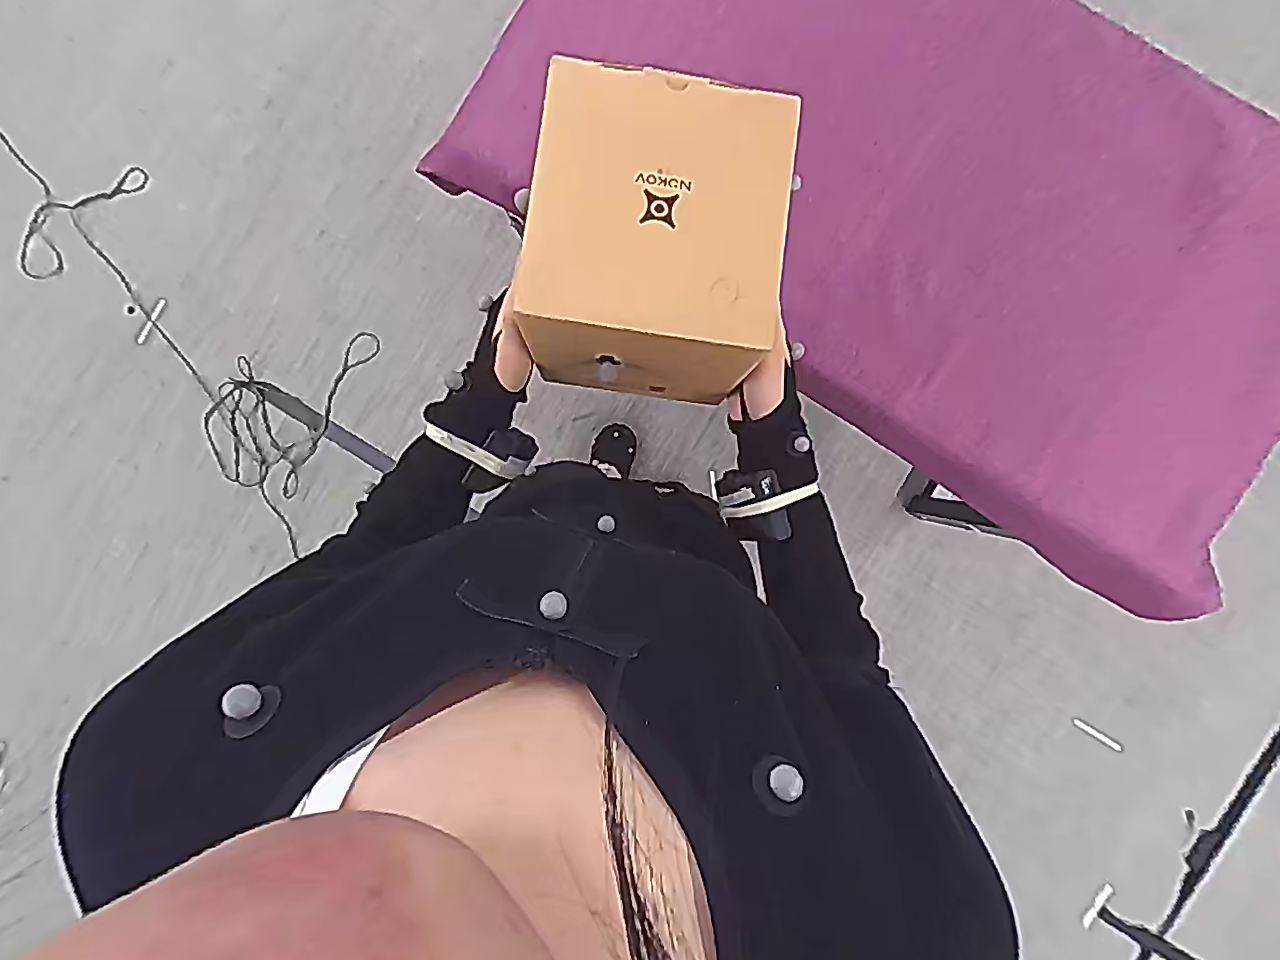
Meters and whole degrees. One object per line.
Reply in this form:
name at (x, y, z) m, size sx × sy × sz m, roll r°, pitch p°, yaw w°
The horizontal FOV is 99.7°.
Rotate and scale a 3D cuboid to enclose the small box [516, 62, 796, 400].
small box at (0.009, -0.172, 0.430) m, size 0.168 × 0.176 × 0.179 m, roll 8°, pitch 84°, yaw -3°
